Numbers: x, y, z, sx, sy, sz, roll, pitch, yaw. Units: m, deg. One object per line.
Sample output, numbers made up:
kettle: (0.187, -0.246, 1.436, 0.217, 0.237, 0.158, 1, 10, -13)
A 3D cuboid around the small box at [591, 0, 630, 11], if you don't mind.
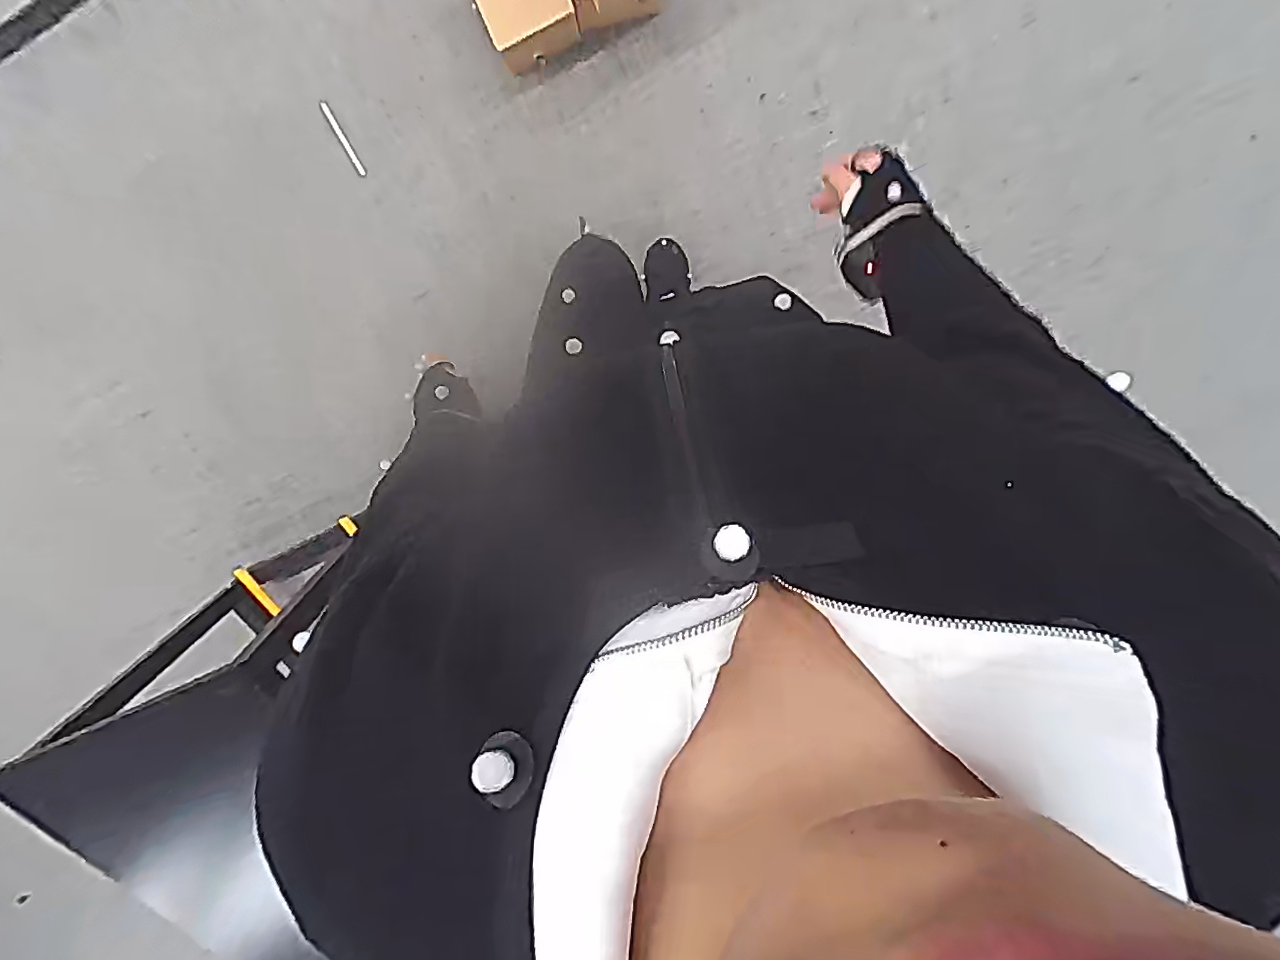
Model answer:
small box: (-0.035, -0.934, 0.902, 0.168, 0.176, 0.179, -23, 113, 8)
